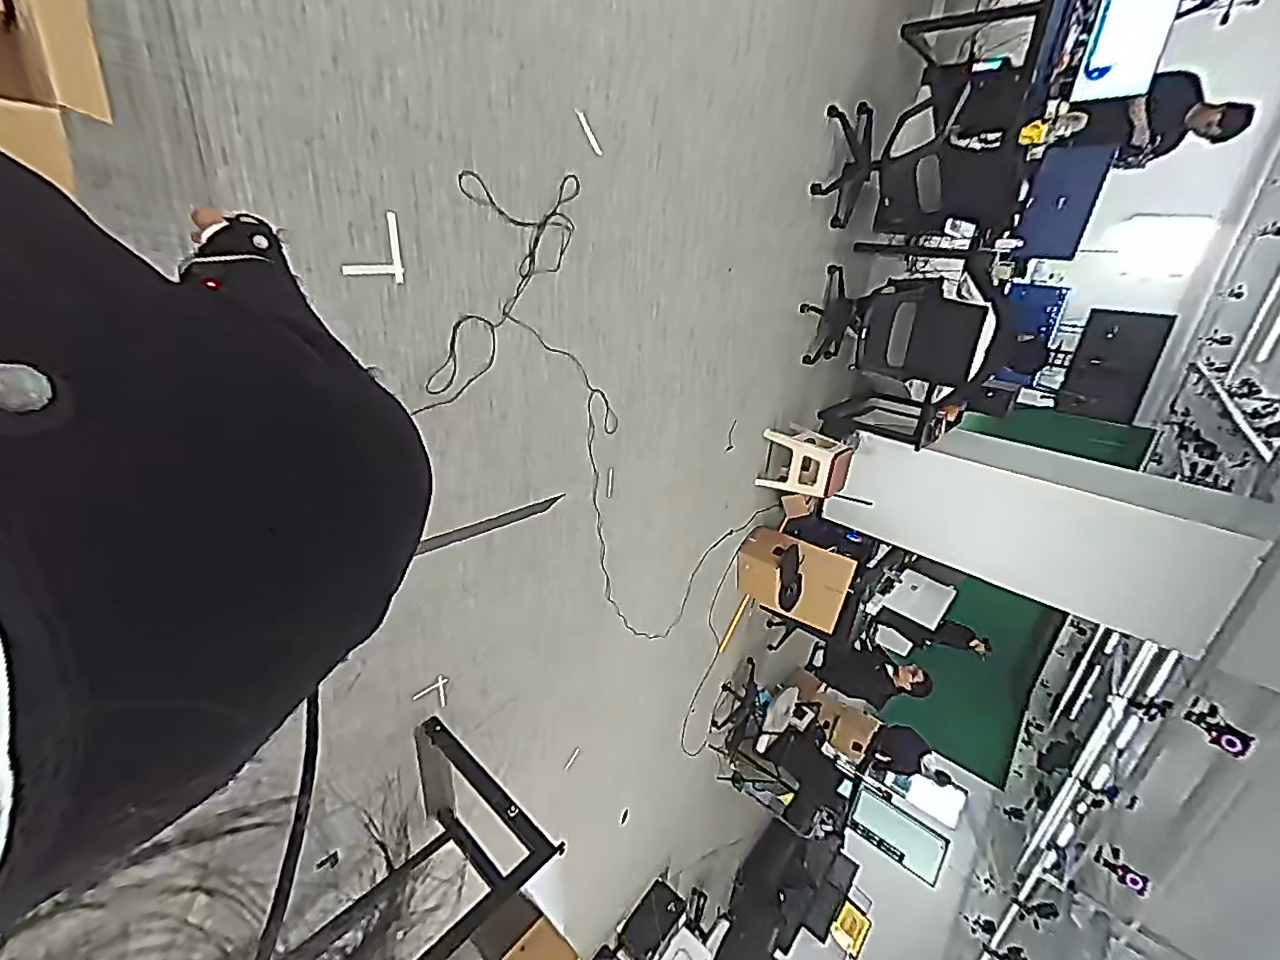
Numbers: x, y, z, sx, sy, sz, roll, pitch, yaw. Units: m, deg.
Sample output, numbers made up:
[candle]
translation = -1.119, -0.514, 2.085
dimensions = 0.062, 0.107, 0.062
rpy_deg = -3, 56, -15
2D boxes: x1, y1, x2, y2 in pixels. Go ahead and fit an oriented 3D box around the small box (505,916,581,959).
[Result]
[small box]
translation = -0.295, 1.476, 1.630
dimensions = 0.168, 0.176, 0.179
rpy_deg = -23, 126, -43
